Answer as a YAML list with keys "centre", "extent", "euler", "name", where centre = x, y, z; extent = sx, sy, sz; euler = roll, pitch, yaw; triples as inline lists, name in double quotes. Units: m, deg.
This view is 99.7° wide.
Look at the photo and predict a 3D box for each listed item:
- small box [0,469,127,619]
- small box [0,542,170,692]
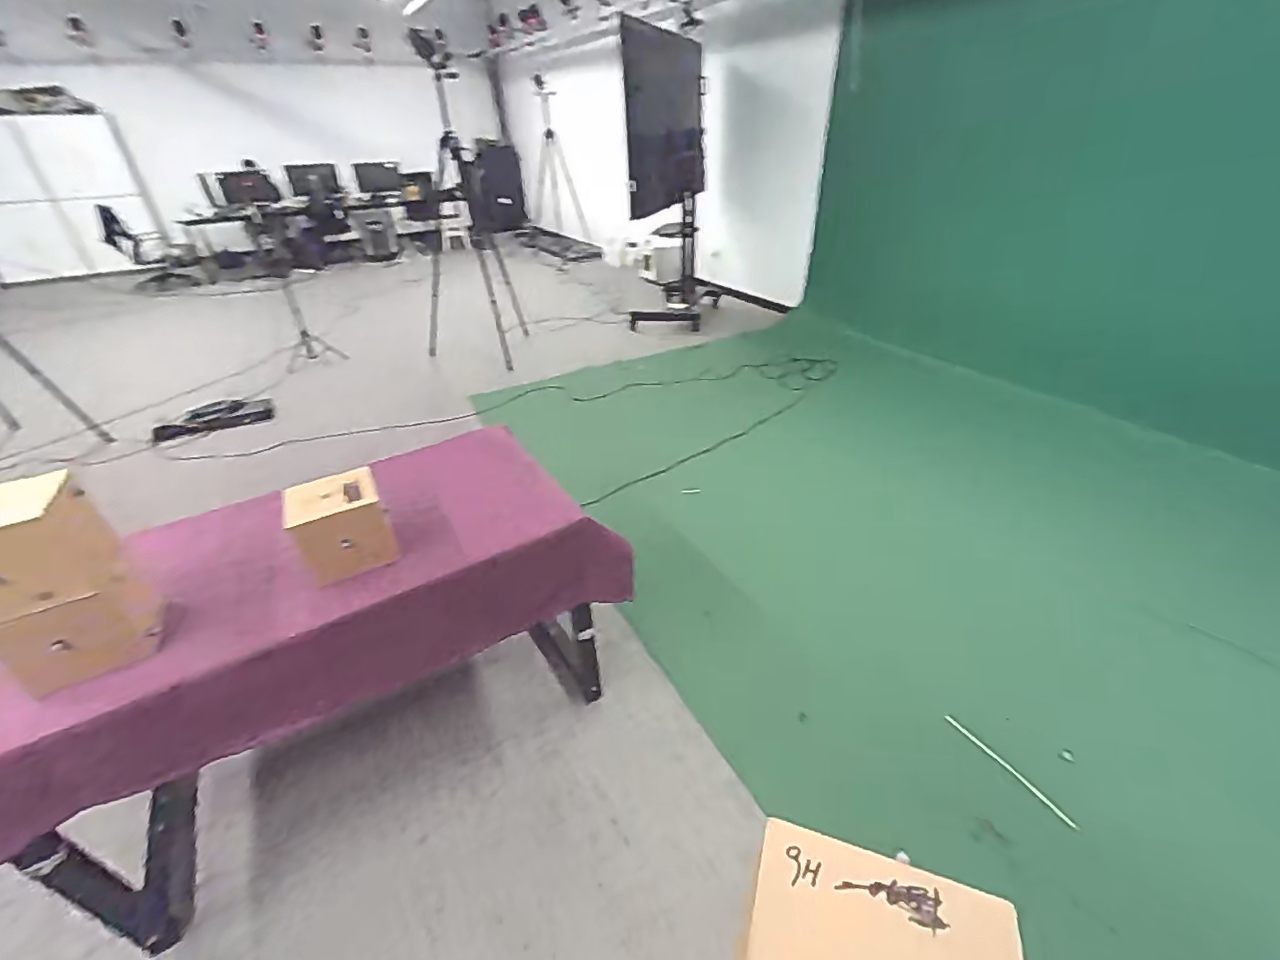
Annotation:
- centre: [-1.023, 0.111, 0.913]
  extent: [0.168, 0.176, 0.179]
  euler: [-19, 35, -24]
  name: "small box"
- centre: [-1.018, 0.249, 0.999]
  extent: [0.179, 0.176, 0.168]
  euler: [-20, 37, -25]
  name: "small box"
